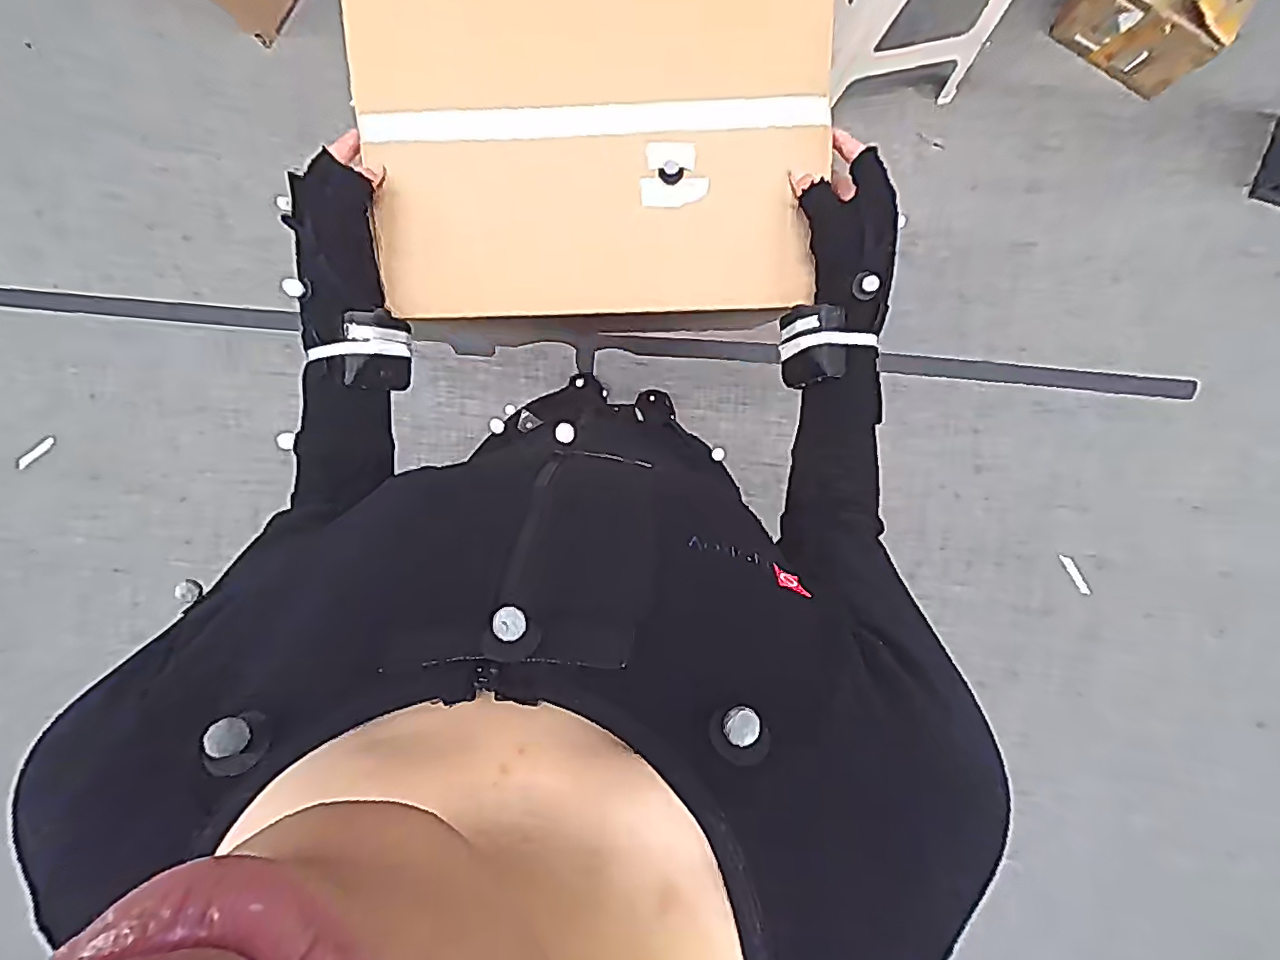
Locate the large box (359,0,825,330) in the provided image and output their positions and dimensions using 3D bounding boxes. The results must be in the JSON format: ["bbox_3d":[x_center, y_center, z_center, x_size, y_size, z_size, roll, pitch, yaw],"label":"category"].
[{"bbox_3d":[-0.039,-0.350,0.621,0.408,0.320,0.320,-1,102,0],"label":"large box"}]
